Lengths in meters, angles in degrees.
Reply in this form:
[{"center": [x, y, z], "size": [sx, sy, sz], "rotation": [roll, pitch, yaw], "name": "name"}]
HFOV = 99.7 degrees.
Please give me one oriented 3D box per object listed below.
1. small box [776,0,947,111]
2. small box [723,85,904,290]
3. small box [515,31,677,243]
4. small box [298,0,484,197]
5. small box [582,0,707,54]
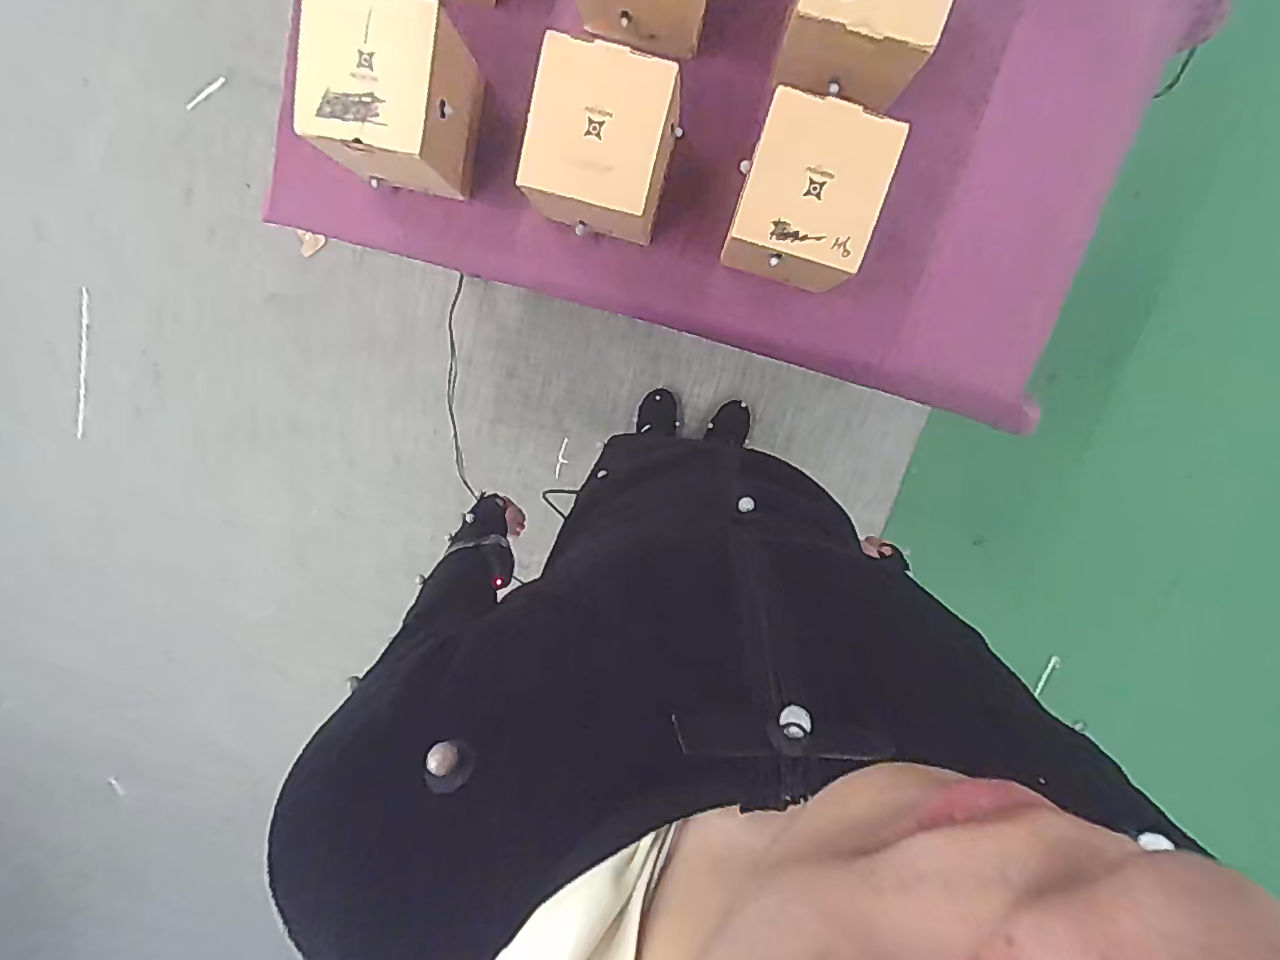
[{"center": [0.281, -0.609, 0.674], "size": [0.168, 0.176, 0.179], "rotation": [17, 103, 2], "name": "small box"}, {"center": [0.216, -0.376, 0.729], "size": [0.168, 0.176, 0.179], "rotation": [18, 102, 2], "name": "small box"}, {"center": [-0.051, -0.449, 0.737], "size": [0.168, 0.176, 0.179], "rotation": [16, 103, 2], "name": "small box"}, {"center": [-0.329, -0.517, 0.743], "size": [0.168, 0.176, 0.179], "rotation": [13, 100, 2], "name": "small box"}, {"center": [0.013, -0.695, 0.680], "size": [0.168, 0.176, 0.179], "rotation": [15, 104, 1], "name": "small box"}]
